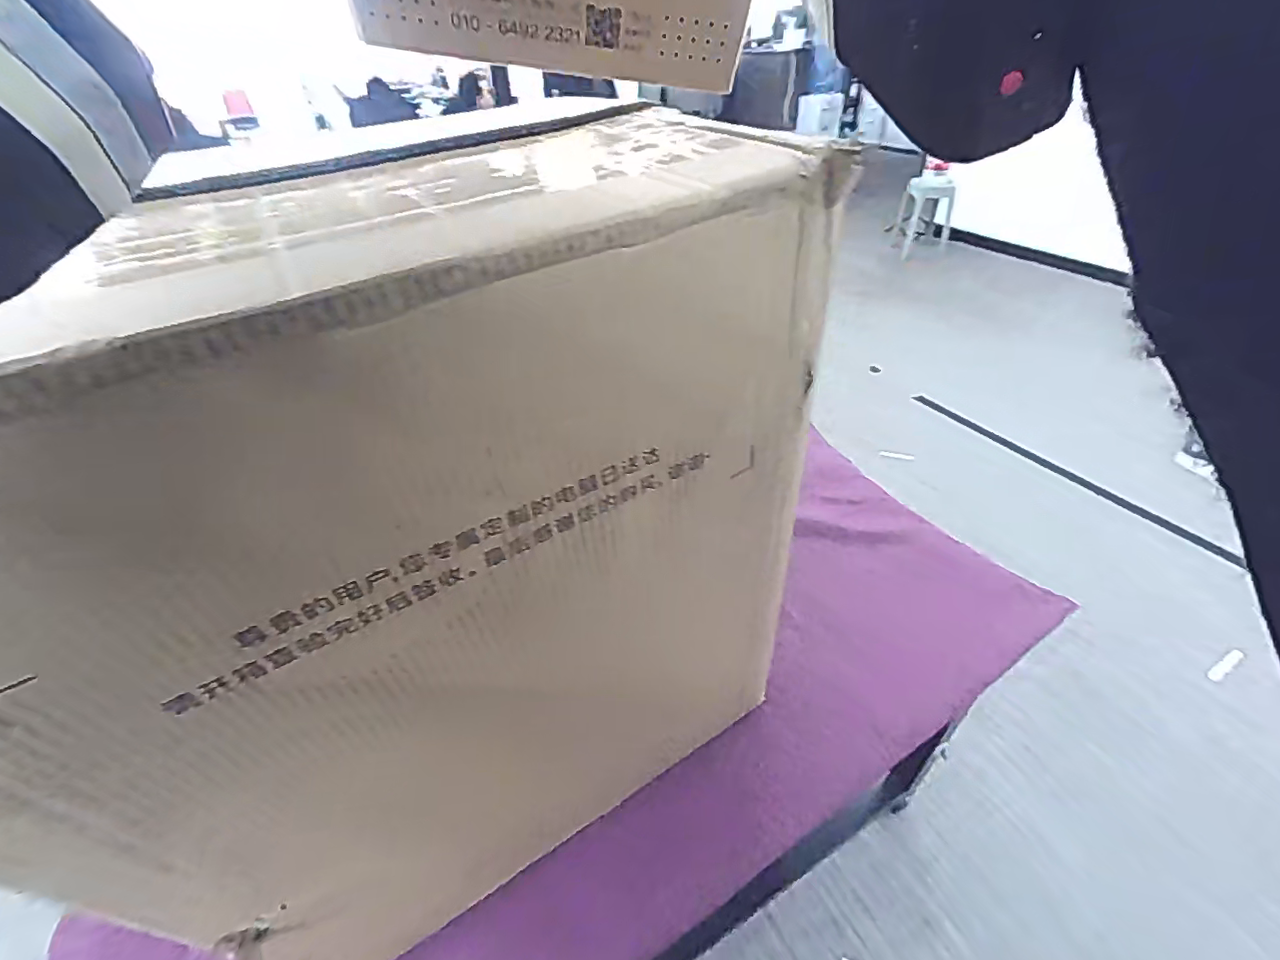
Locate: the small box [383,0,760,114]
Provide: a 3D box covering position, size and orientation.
[{"bbox_3d":[-0.026,-0.293,0.220,0.168,0.176,0.179,2,63,-7],"label":"small box"}]
